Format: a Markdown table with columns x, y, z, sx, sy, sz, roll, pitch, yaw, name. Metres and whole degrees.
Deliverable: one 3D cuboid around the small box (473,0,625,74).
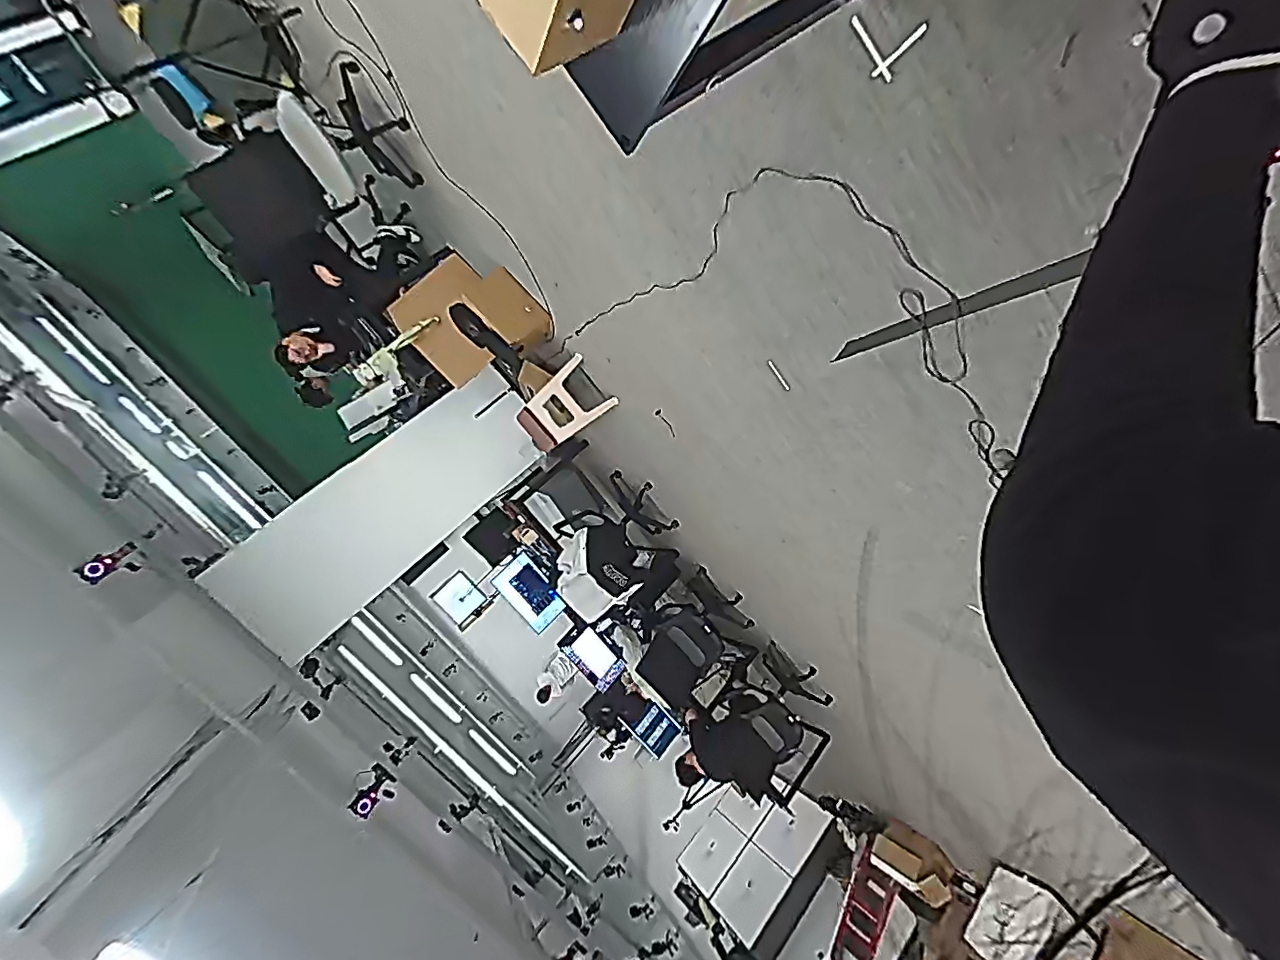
| x | y | z | sx | sy | sz | roll | pitch | yaw | name |
| --- | --- | --- | --- | --- | --- | --- | --- | --- | --- |
| -0.106 | -0.639 | 0.630 | 0.168 | 0.176 | 0.179 | 51 | 158 | -14 | small box |
